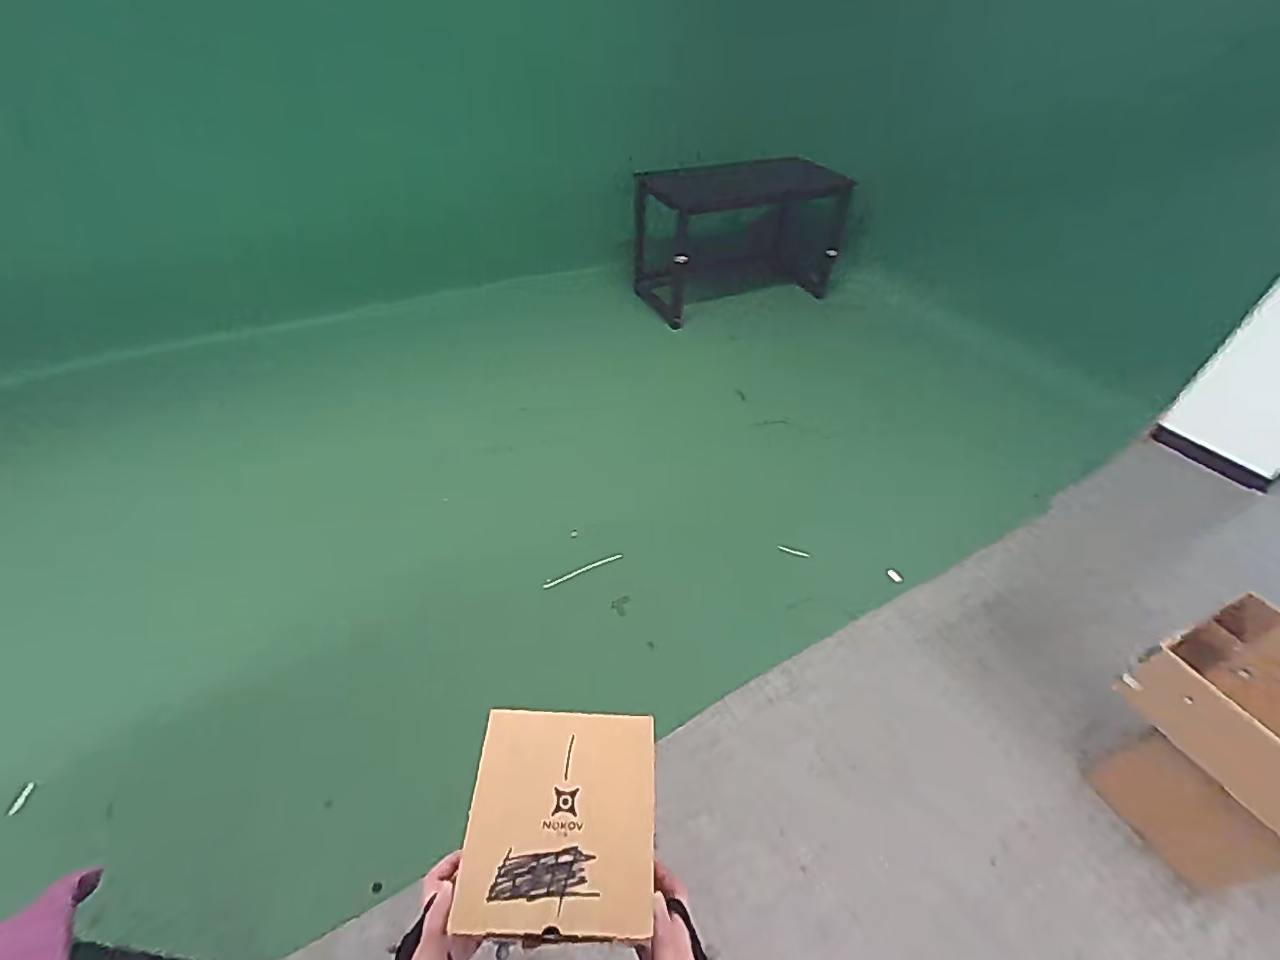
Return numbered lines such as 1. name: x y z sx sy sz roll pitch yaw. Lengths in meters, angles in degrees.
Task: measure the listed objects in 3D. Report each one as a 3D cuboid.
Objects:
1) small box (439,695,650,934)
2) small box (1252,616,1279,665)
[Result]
1. small box: -0.080 0.336 0.539 0.168 0.176 0.179 5 48 -2
2. small box: 1.455 0.326 1.117 0.179 0.176 0.168 -18 47 -19
